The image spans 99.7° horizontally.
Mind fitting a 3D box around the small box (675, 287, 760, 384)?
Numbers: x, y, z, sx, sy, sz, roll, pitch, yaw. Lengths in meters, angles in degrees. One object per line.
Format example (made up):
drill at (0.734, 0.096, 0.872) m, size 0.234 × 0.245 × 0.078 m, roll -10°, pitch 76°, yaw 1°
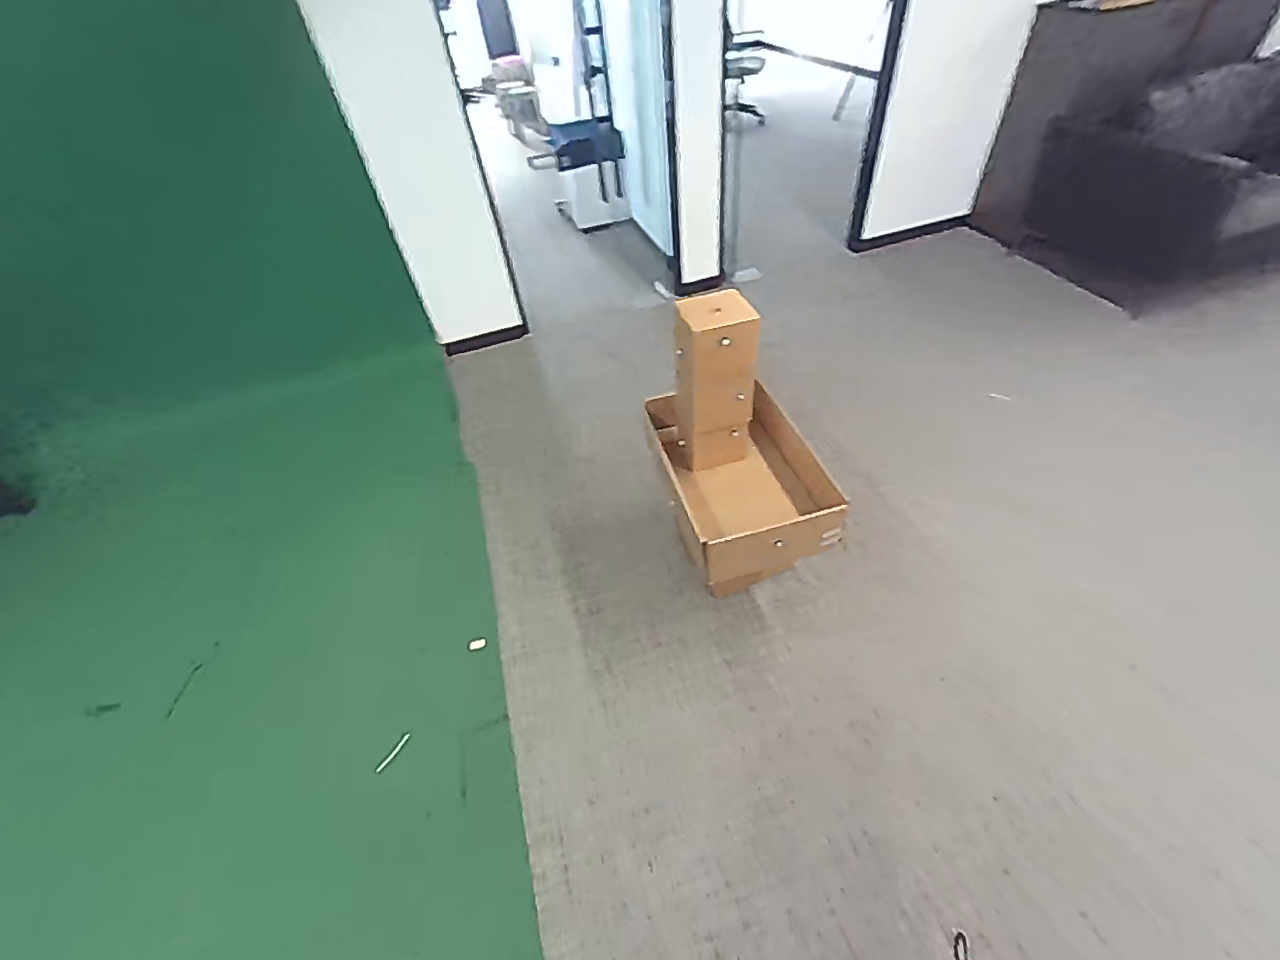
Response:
small box at (0.197, -0.377, 1.423) m, size 0.179 × 0.176 × 0.168 m, roll -15°, pitch 47°, yaw -8°
